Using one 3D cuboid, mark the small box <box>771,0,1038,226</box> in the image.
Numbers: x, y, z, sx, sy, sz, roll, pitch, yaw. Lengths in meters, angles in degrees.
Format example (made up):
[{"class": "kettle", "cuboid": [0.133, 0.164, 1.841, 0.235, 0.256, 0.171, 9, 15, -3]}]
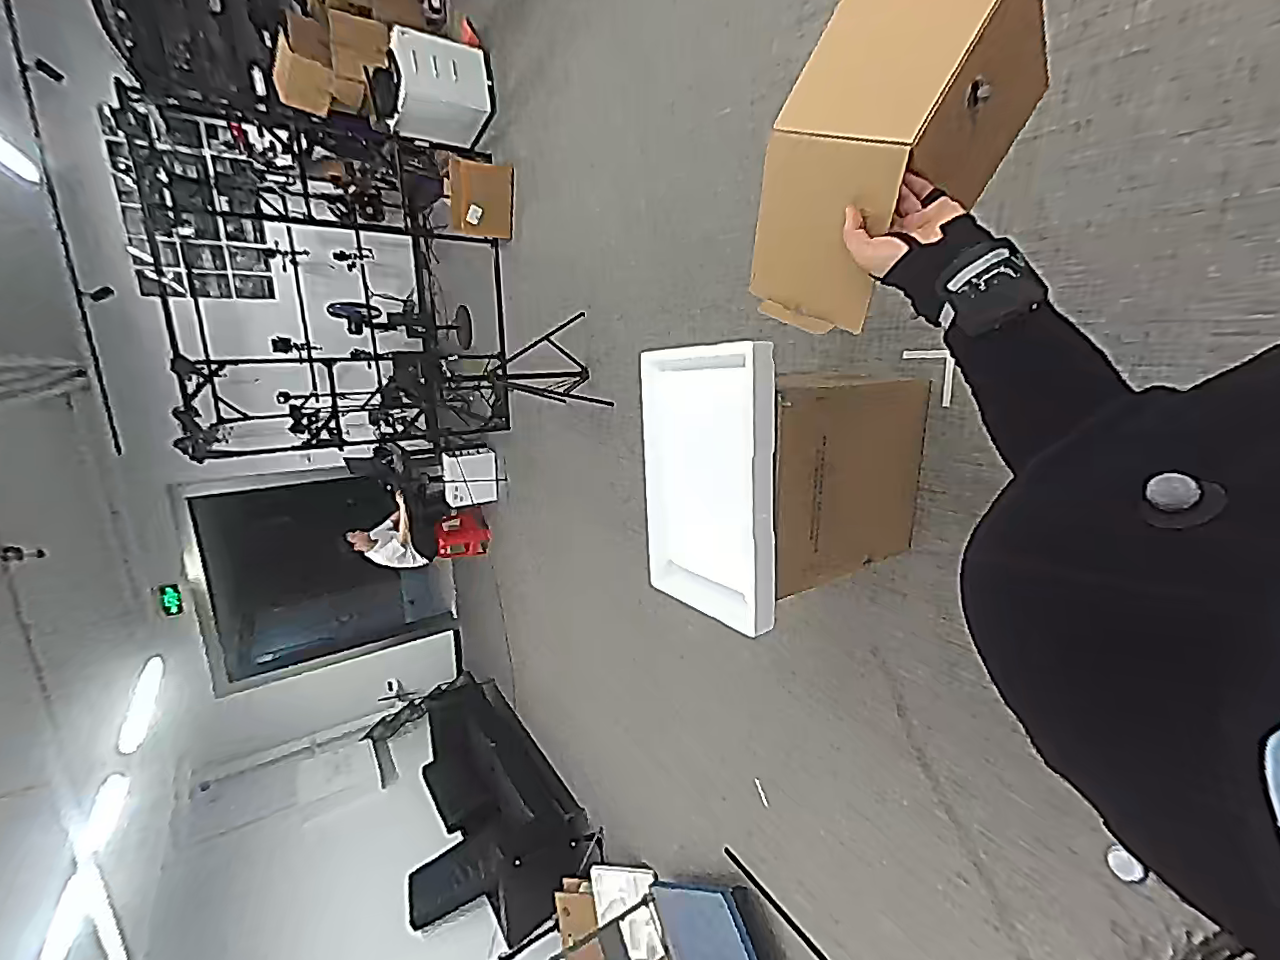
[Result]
[{"class": "small box", "cuboid": [0.278, -0.398, 0.562, 0.168, 0.176, 0.179, 40, 106, 38]}]
